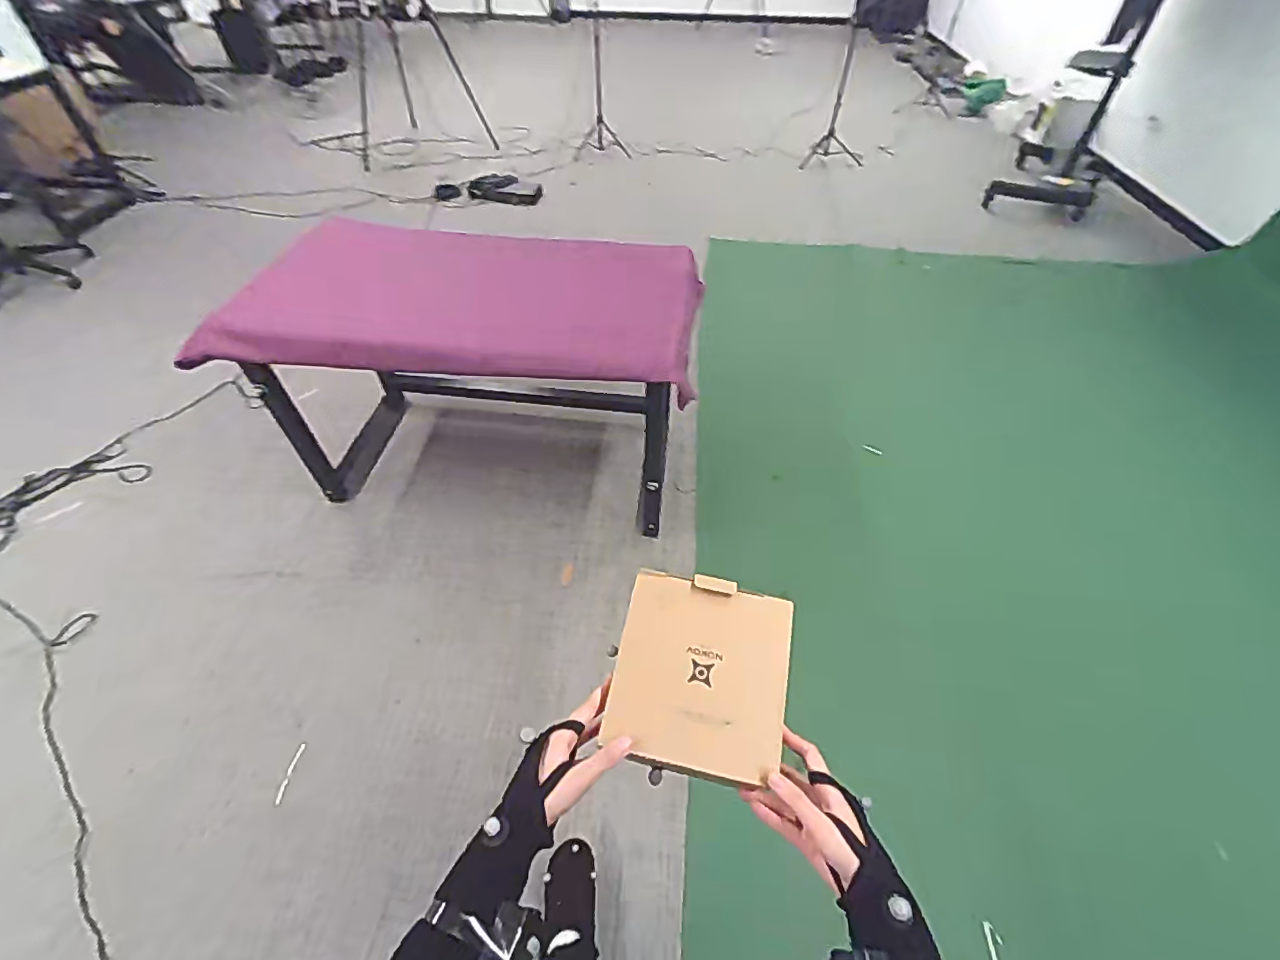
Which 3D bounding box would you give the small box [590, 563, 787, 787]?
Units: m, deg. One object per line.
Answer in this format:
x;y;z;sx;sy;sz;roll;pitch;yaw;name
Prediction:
0.049;0.215;0.585;0.168;0.176;0.179;12;61;5;small box
